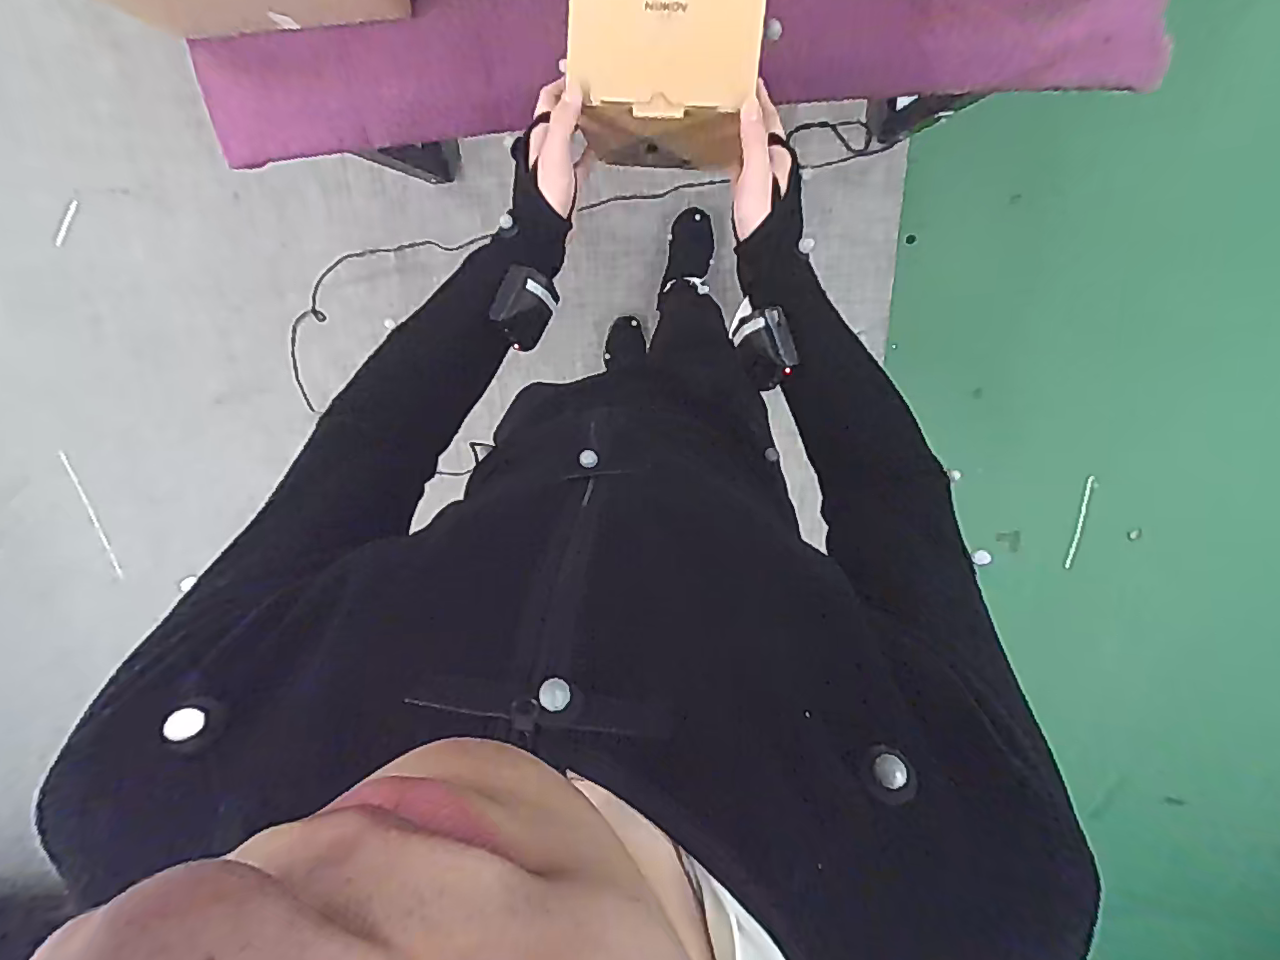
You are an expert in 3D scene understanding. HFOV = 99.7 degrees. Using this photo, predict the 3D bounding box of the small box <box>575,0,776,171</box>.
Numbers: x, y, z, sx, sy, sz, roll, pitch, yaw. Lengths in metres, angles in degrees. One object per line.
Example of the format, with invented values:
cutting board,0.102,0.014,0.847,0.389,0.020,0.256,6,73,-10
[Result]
small box,0.036,-0.424,0.521,0.168,0.176,0.179,5,106,4
